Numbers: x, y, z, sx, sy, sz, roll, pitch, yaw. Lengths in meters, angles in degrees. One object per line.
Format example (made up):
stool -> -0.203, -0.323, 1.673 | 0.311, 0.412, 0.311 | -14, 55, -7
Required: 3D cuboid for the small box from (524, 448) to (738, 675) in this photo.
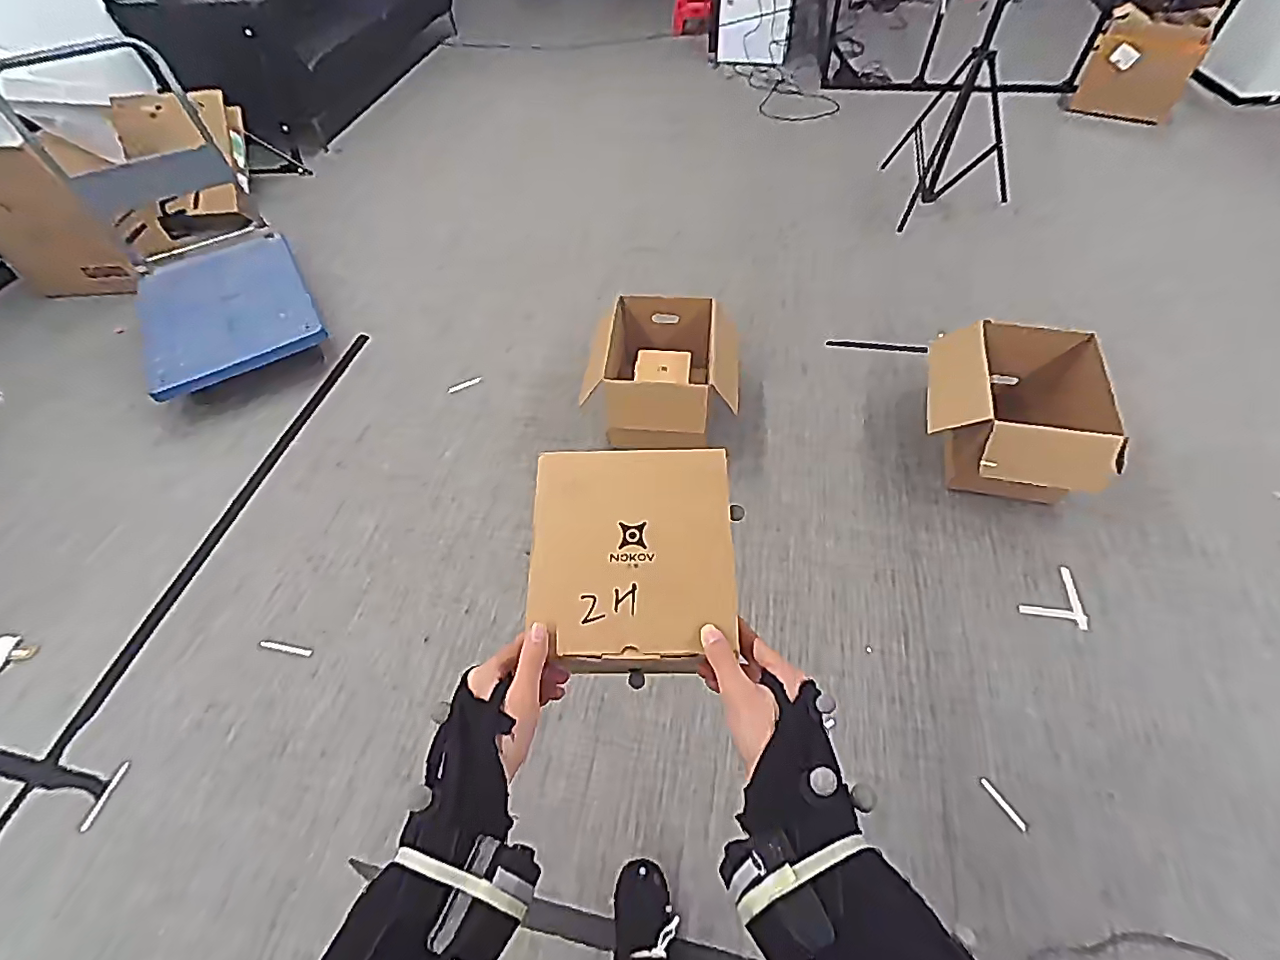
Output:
small box -> -0.003, 0.084, 0.514 | 0.168, 0.176, 0.179 | -1, 66, 3
